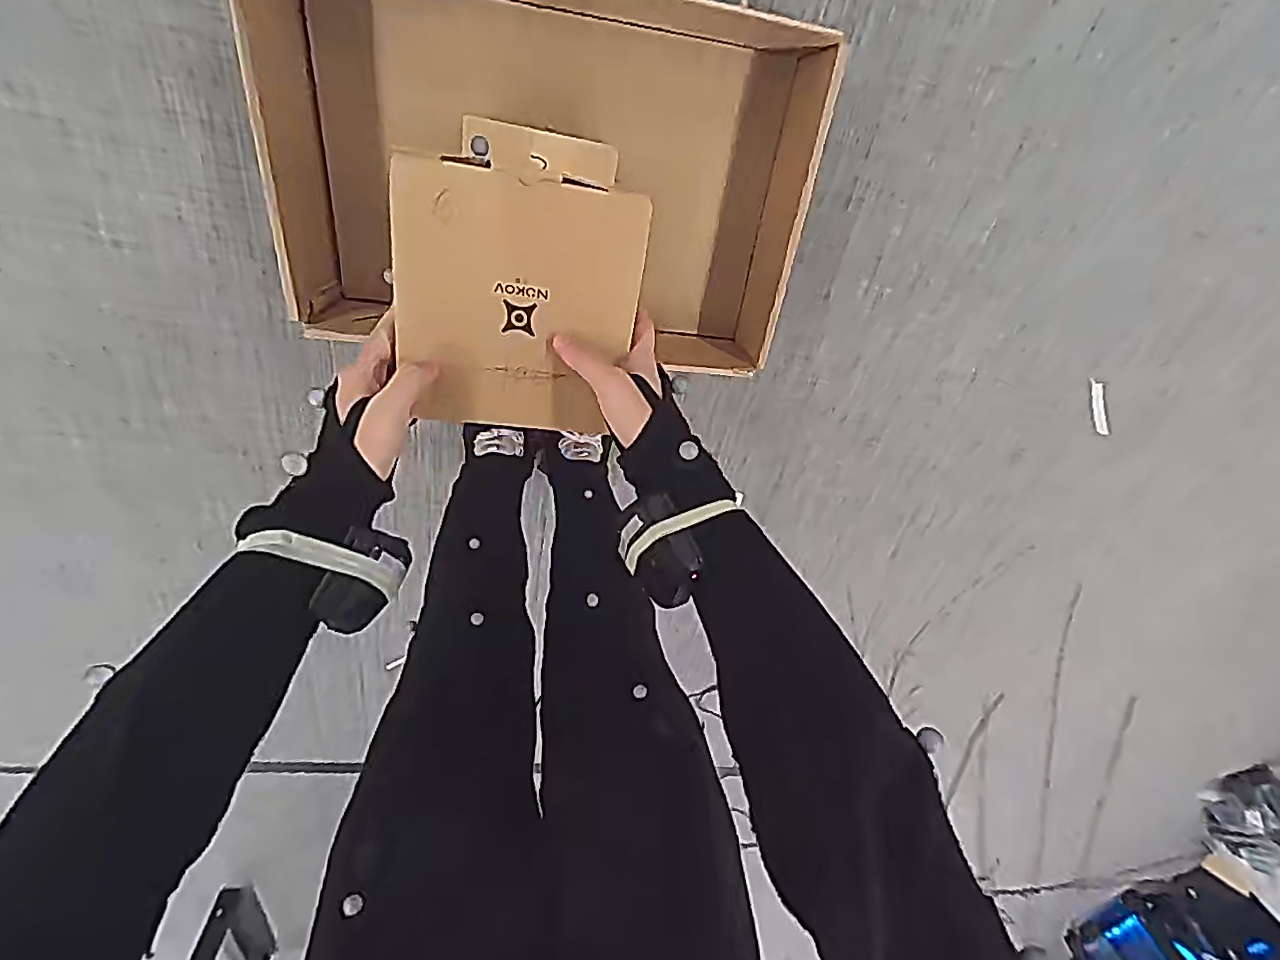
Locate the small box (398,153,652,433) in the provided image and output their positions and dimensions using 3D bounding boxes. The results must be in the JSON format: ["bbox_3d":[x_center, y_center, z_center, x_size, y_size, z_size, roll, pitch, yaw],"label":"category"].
[{"bbox_3d":[-0.097,-0.158,0.455,0.168,0.176,0.179,4,119,-12],"label":"small box"}]
